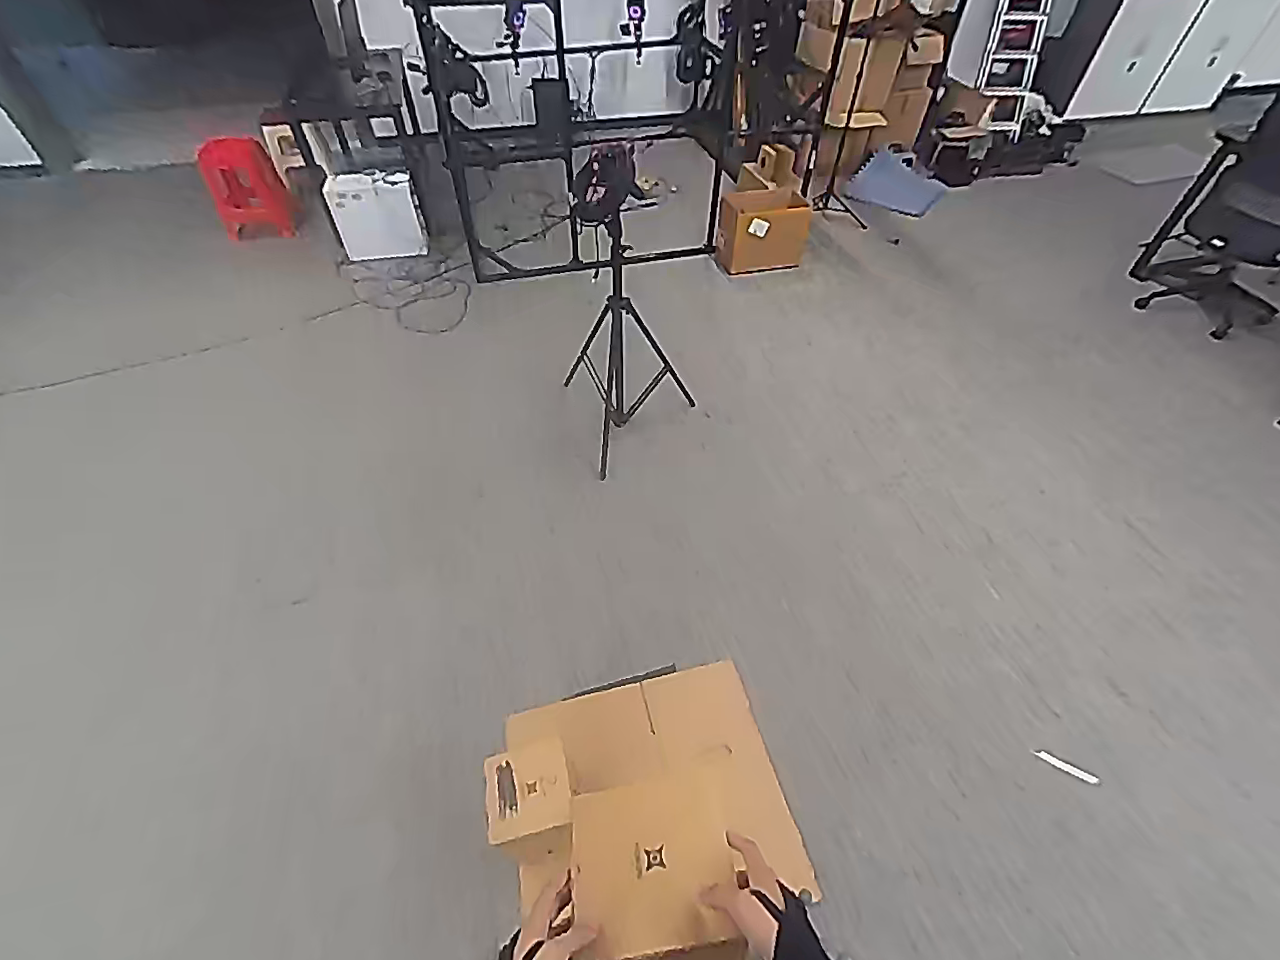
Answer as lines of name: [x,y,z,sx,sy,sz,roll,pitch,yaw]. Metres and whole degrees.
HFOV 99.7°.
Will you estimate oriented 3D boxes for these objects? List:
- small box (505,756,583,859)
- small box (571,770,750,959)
small box: [-0.225,0.805,1.328,0.179,0.176,0.168,-11,50,-9]
small box: [0.018,0.476,0.630,0.179,0.176,0.168,-8,31,-4]
